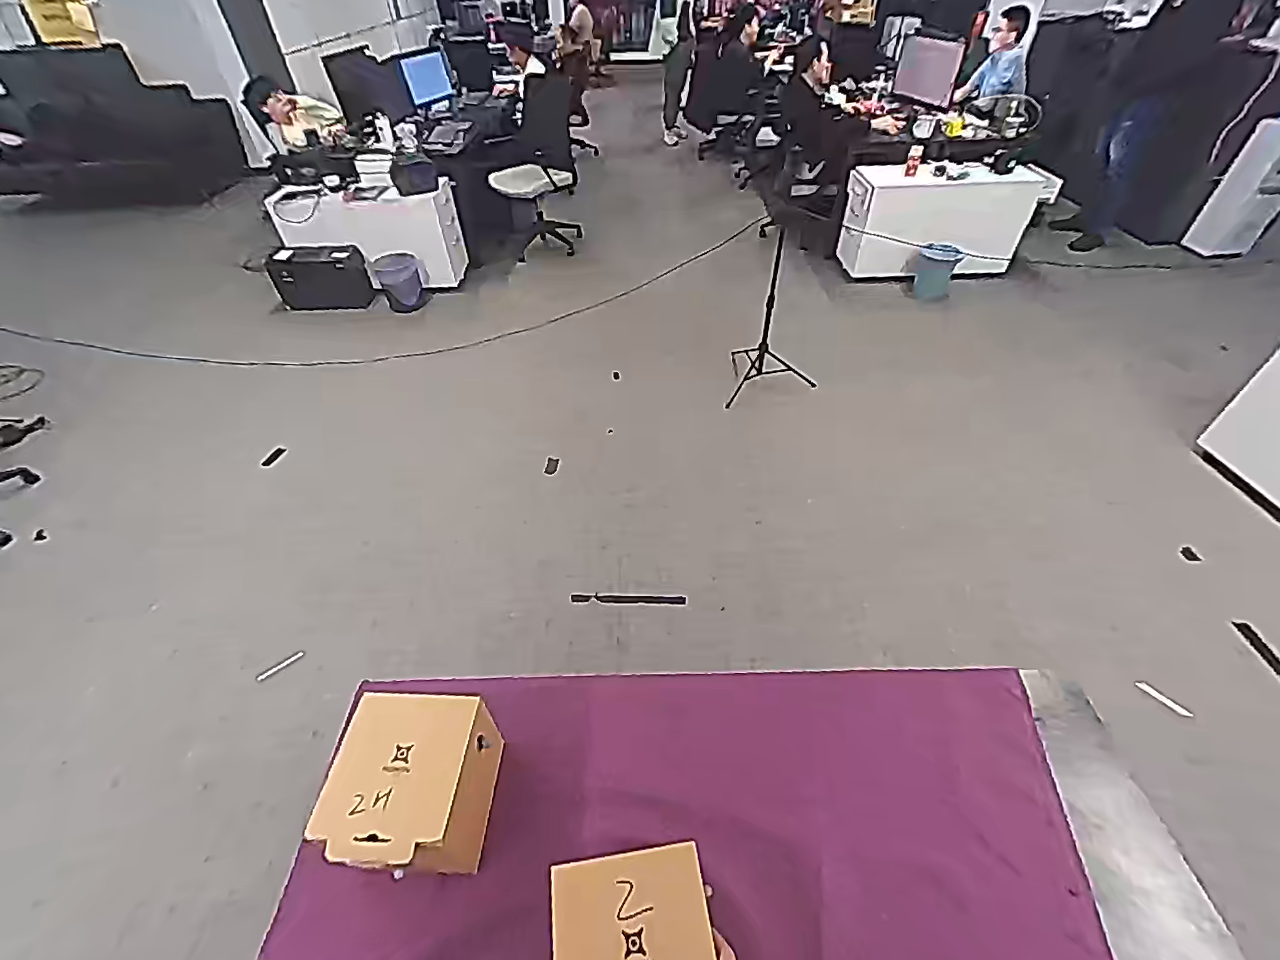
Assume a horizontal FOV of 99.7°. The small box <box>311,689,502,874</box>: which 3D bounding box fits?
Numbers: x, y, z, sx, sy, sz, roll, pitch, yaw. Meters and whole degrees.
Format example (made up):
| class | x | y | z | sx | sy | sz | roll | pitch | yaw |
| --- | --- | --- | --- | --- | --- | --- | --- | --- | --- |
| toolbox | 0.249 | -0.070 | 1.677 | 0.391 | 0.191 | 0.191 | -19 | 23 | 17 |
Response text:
| class | x | y | z | sx | sy | sz | roll | pitch | yaw |
| --- | --- | --- | --- | --- | --- | --- | --- | --- | --- |
| small box | -0.297 | 0.410 | 0.737 | 0.168 | 0.176 | 0.179 | 1 | 45 | 3 |
